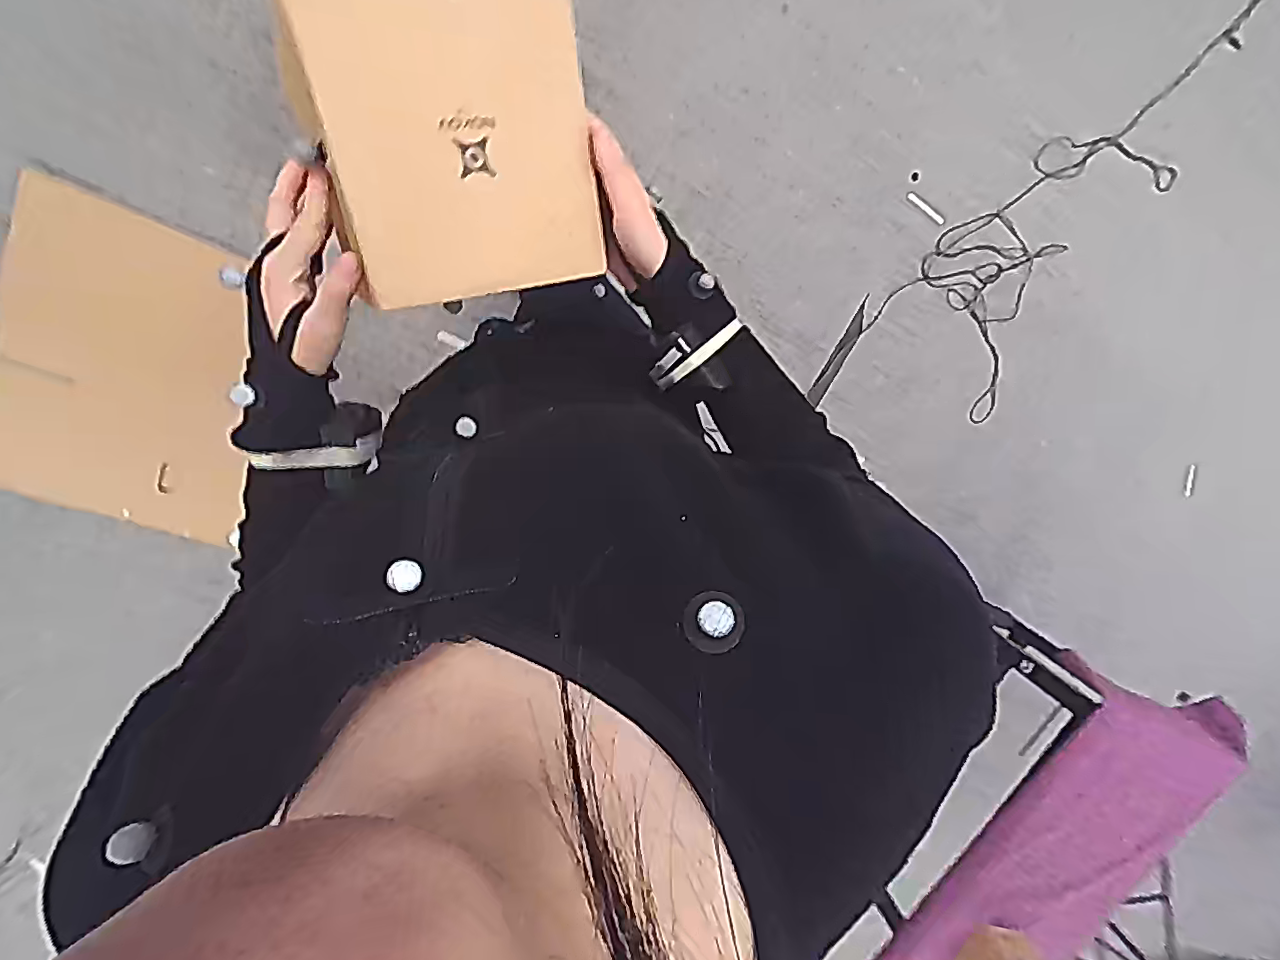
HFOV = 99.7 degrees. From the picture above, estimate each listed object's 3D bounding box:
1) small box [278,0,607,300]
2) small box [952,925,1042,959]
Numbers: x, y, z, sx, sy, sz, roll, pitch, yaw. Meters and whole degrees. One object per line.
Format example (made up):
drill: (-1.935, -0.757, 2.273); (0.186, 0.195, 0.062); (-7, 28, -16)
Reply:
small box: (-0.143, -0.240, 0.403); (0.168, 0.176, 0.179); (-20, 117, -25)
small box: (0.924, 1.265, 1.353); (0.168, 0.176, 0.179); (26, 103, -19)
